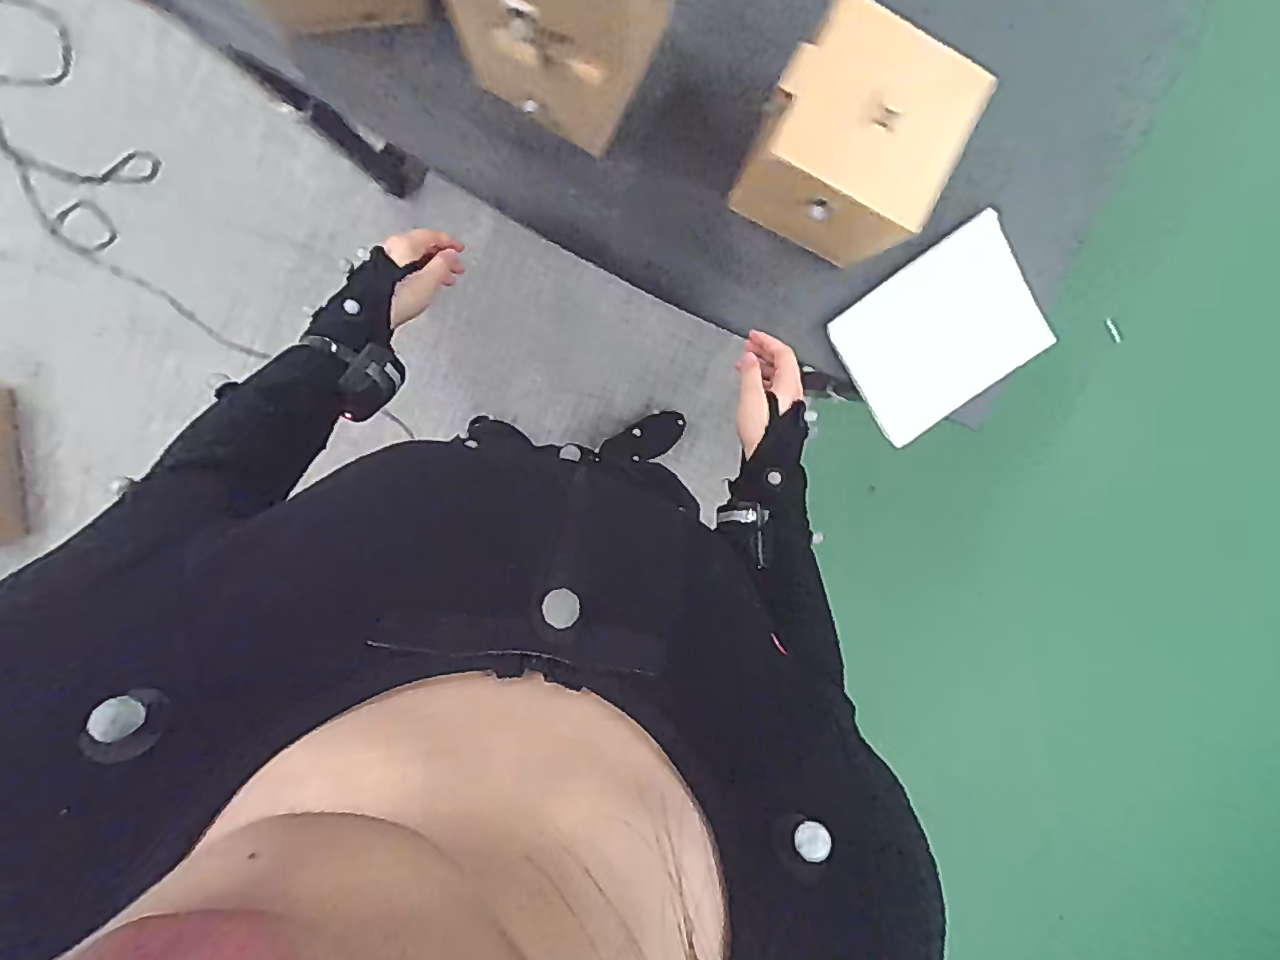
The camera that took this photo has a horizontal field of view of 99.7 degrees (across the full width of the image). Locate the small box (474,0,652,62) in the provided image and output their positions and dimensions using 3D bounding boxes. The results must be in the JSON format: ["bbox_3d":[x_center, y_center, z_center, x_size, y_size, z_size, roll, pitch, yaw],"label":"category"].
[{"bbox_3d":[-0.053,-0.472,0.401,0.168,0.176,0.179,17,100,-6],"label":"small box"}]

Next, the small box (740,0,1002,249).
[{"bbox_3d":[0.237,-0.380,0.603,0.179,0.176,0.168,24,98,-7],"label":"small box"}]

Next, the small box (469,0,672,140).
[{"bbox_3d":[-0.067,-0.506,0.559,0.168,0.176,0.179,28,98,-8],"label":"small box"}]
